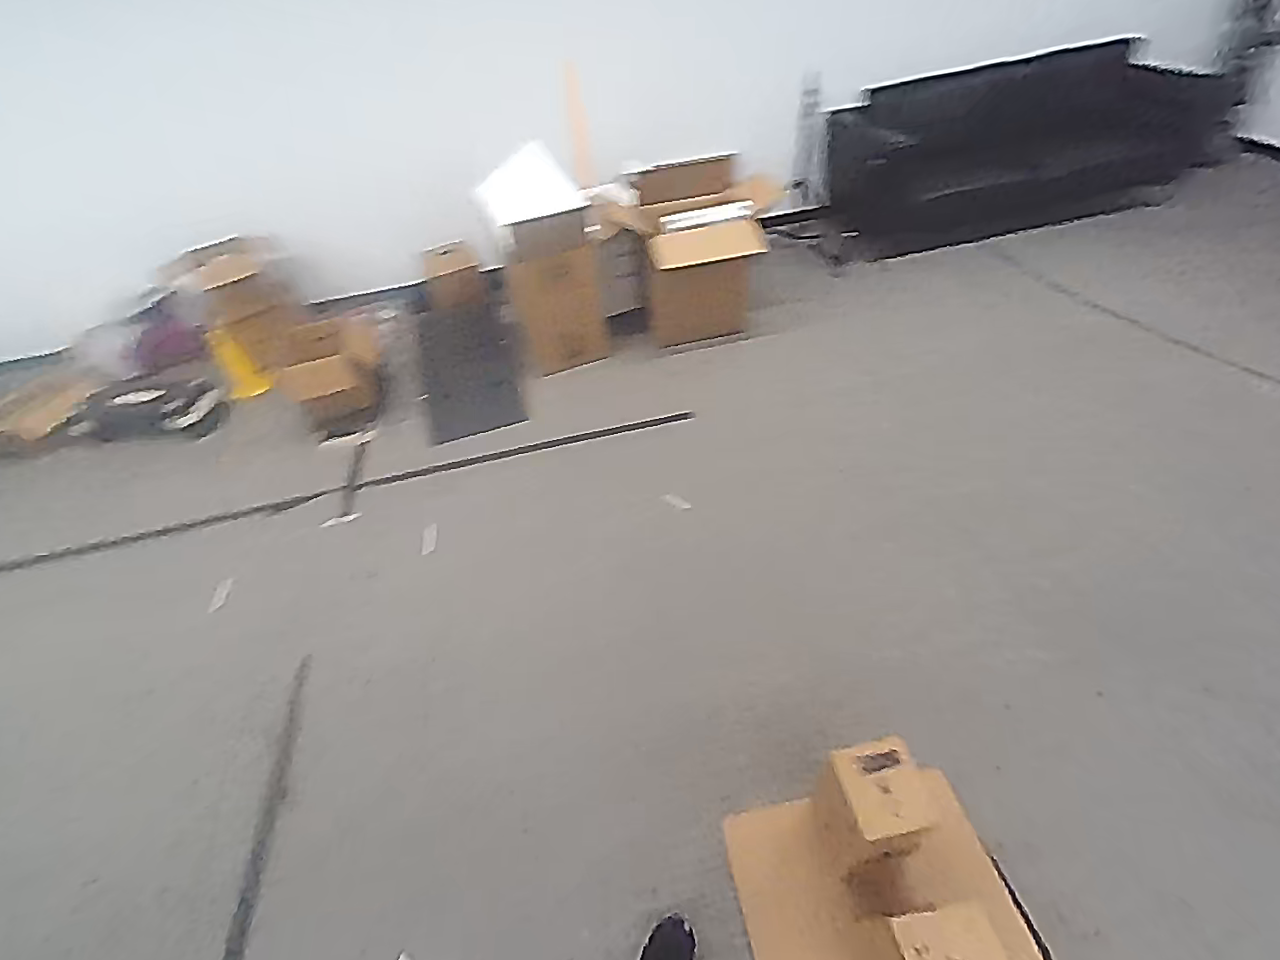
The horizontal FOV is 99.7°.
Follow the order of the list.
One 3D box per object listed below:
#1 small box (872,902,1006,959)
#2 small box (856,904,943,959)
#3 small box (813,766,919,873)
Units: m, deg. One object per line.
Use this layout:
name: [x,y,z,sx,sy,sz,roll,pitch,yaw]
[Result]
small box: [0.559,0.901,0.996,0.179,0.176,0.168,-10,45,-2]
small box: [0.570,1.010,1.119,0.168,0.176,0.179,-10,45,-2]
small box: [0.534,0.823,1.305,0.168,0.176,0.179,-10,44,-3]
